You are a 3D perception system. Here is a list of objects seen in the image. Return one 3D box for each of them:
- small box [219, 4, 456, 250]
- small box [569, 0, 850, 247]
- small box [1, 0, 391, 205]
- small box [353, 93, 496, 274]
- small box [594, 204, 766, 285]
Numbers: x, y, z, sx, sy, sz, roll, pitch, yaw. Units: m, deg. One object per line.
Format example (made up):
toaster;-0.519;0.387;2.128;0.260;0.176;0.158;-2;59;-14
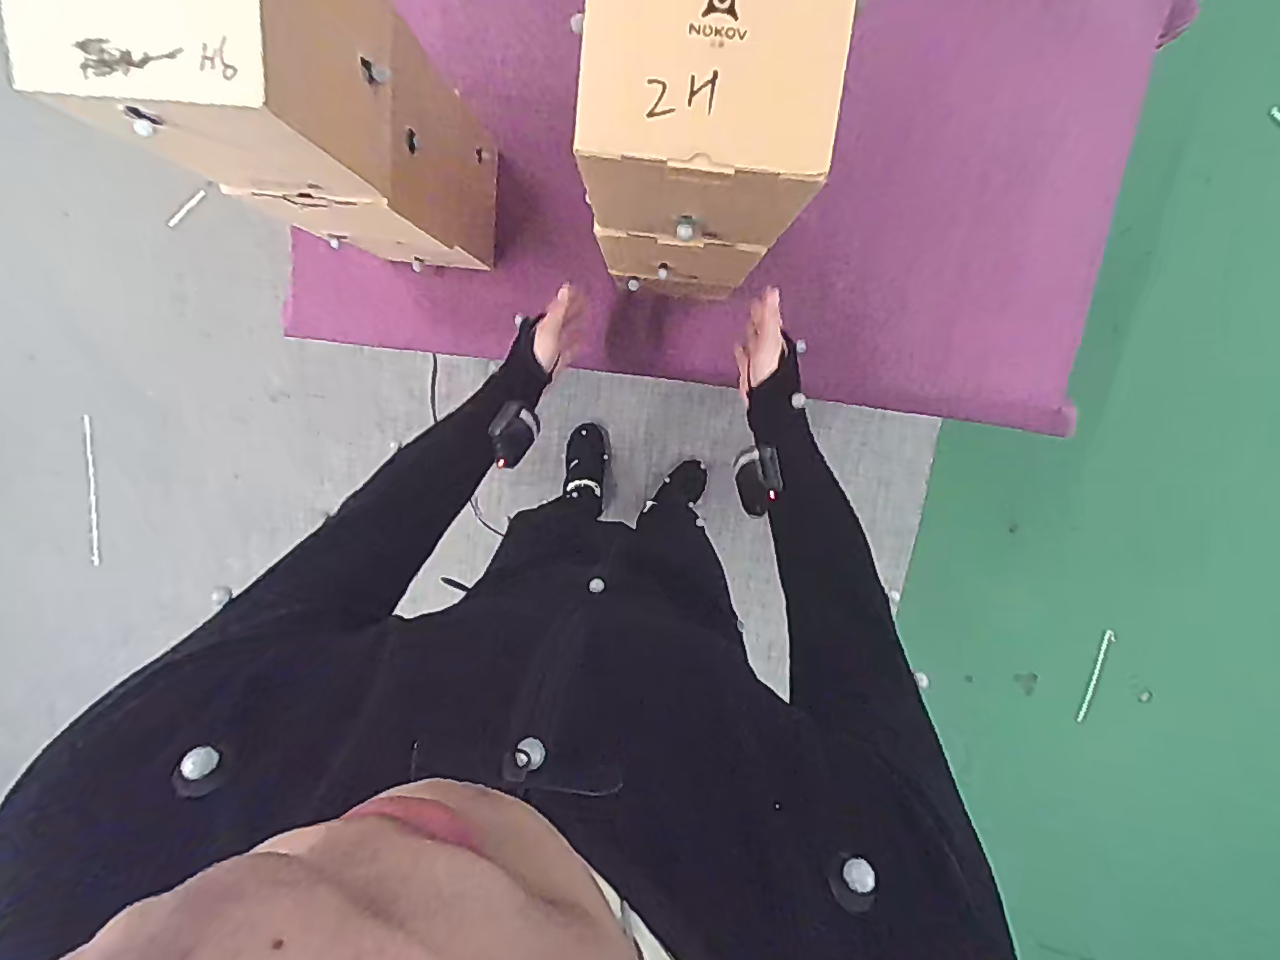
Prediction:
small box;-0.307;-0.359;0.576;0.168;0.176;0.179;5;99;1
small box;0.046;-0.297;0.411;0.168;0.176;0.179;7;100;1
small box;-0.311;-0.338;0.412;0.168;0.176;0.179;5;99;2
small box;-0.301;-0.395;0.736;0.168;0.176;0.179;6;101;1
small box;0.047;-0.320;0.574;0.168;0.176;0.179;6;100;1
